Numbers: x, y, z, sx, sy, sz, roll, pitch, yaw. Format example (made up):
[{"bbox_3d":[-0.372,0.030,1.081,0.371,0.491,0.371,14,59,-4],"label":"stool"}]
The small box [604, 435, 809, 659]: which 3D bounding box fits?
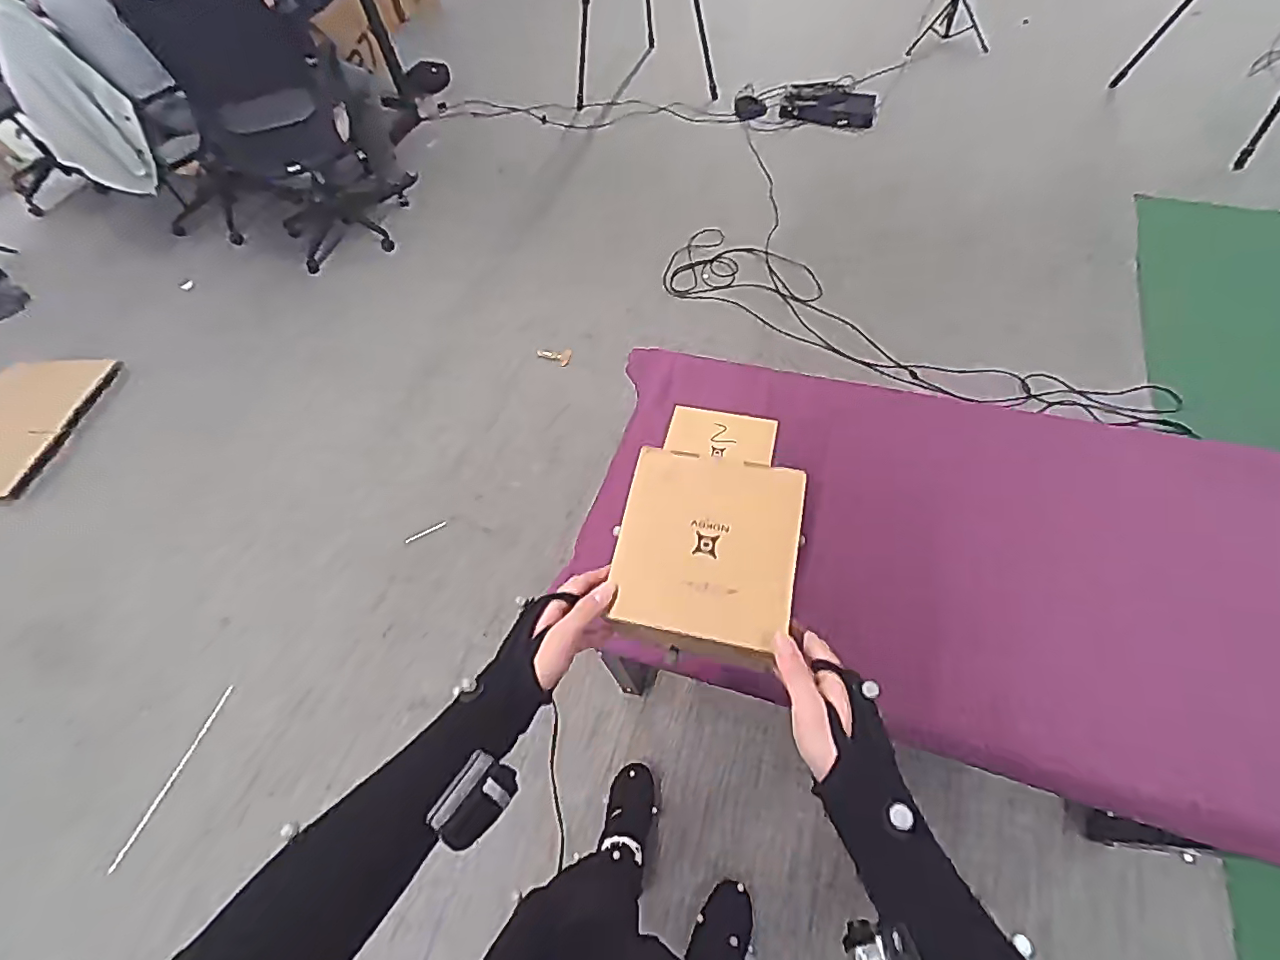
[{"bbox_3d":[0.071,0.078,0.575,0.168,0.176,0.179,11,68,10],"label":"small box"}]
